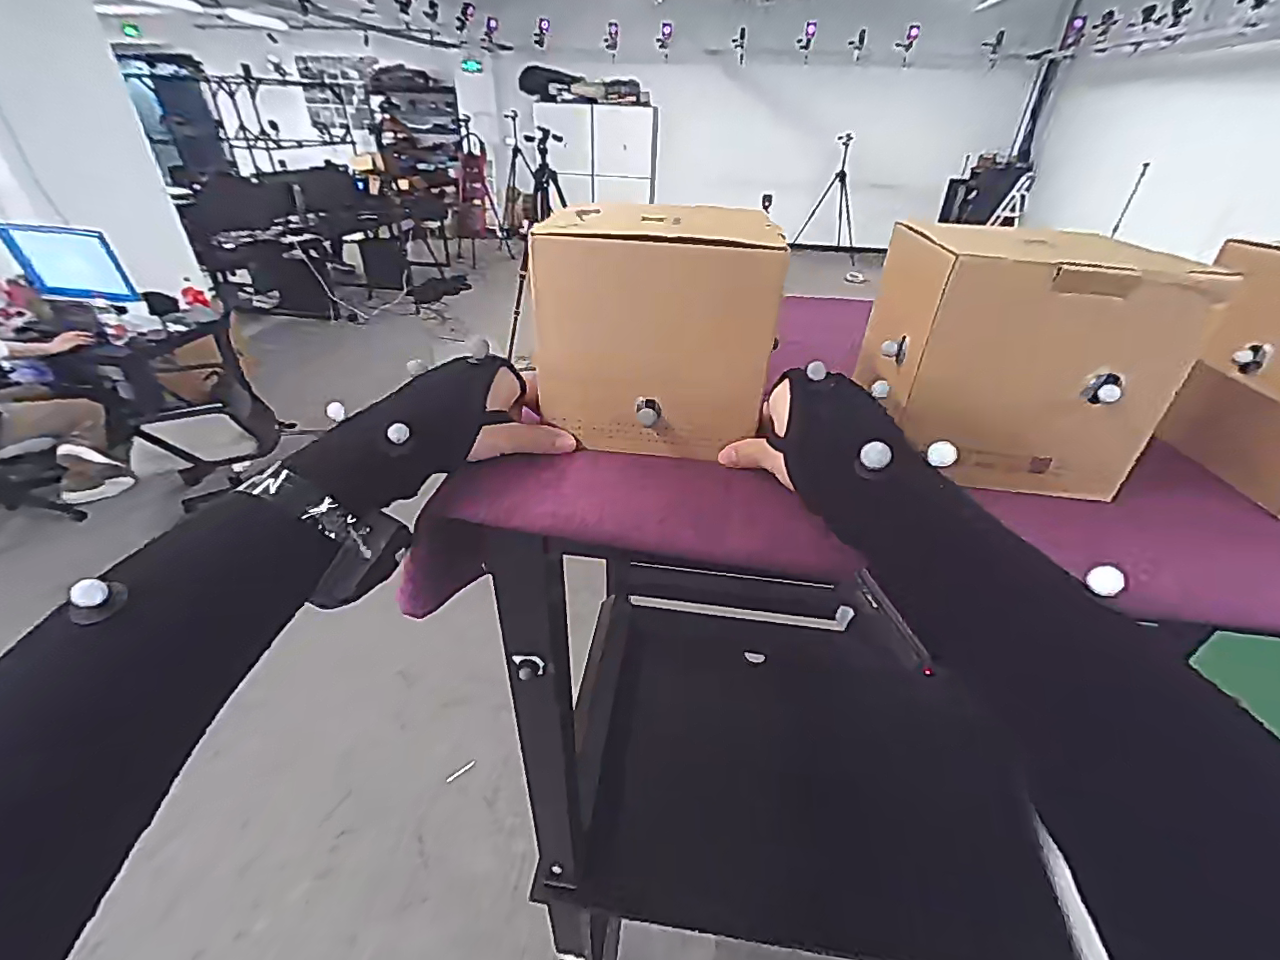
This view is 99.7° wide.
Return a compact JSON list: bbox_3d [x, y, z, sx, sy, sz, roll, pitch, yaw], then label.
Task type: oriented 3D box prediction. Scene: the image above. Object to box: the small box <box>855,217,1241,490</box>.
[{"bbox_3d":[0.289,-0.109,0.441,0.168,0.176,0.179,8,32,7],"label":"small box"}]
